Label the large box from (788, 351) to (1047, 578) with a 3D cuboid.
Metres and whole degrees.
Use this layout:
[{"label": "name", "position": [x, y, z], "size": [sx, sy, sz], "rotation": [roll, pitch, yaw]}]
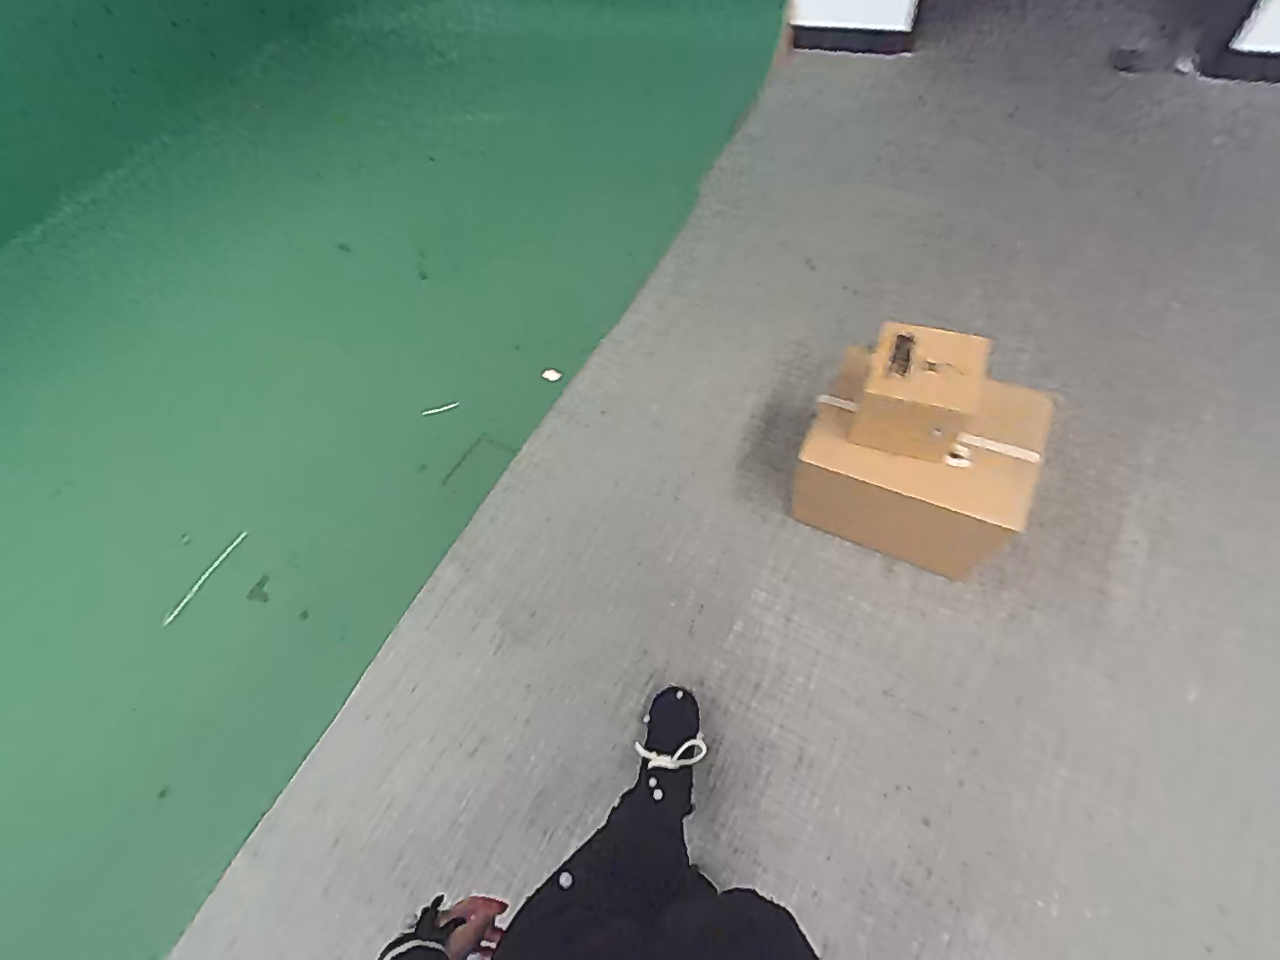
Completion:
[{"label": "large box", "position": [0.581, -0.030, 1.202], "size": [0.408, 0.320, 0.320], "rotation": [21, 70, 20]}]
